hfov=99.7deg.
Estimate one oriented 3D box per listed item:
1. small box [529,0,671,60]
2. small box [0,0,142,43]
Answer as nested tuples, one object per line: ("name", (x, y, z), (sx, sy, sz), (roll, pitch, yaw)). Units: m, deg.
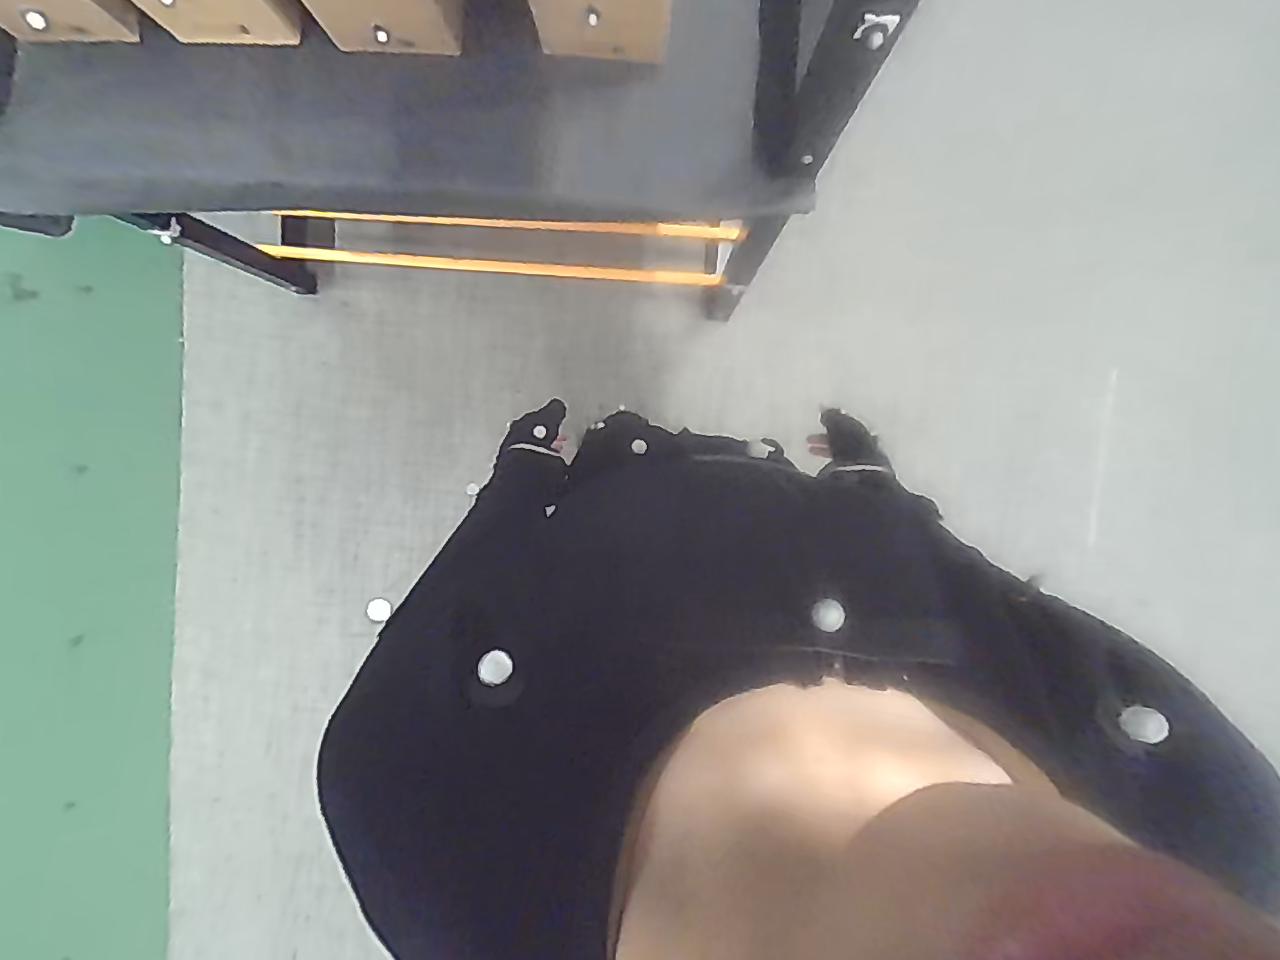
("small box", (-0.042, -0.634, 0.624), (0.168, 0.176, 0.179), (7, 94, 1))
("small box", (-0.750, -0.676, 0.645), (0.168, 0.176, 0.179), (2, 94, 2))
